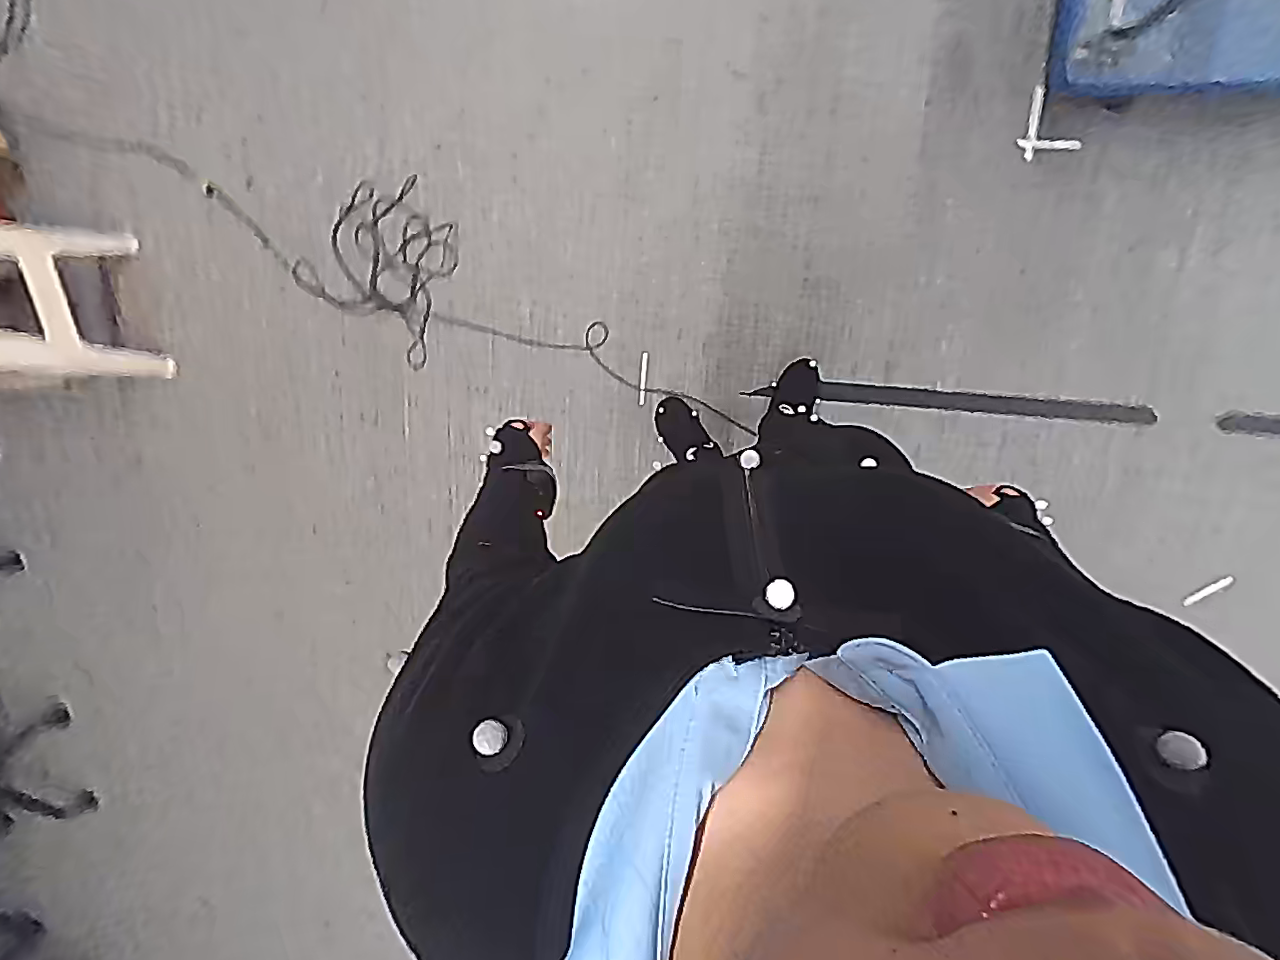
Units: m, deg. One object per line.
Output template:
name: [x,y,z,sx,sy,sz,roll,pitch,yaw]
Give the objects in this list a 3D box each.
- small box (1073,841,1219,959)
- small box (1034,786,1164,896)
small box: [1.106,0.948,1.199,0.168,0.176,0.179,-3,102,6]
small box: [1.135,0.913,1.356,0.168,0.176,0.179,8,102,3]
